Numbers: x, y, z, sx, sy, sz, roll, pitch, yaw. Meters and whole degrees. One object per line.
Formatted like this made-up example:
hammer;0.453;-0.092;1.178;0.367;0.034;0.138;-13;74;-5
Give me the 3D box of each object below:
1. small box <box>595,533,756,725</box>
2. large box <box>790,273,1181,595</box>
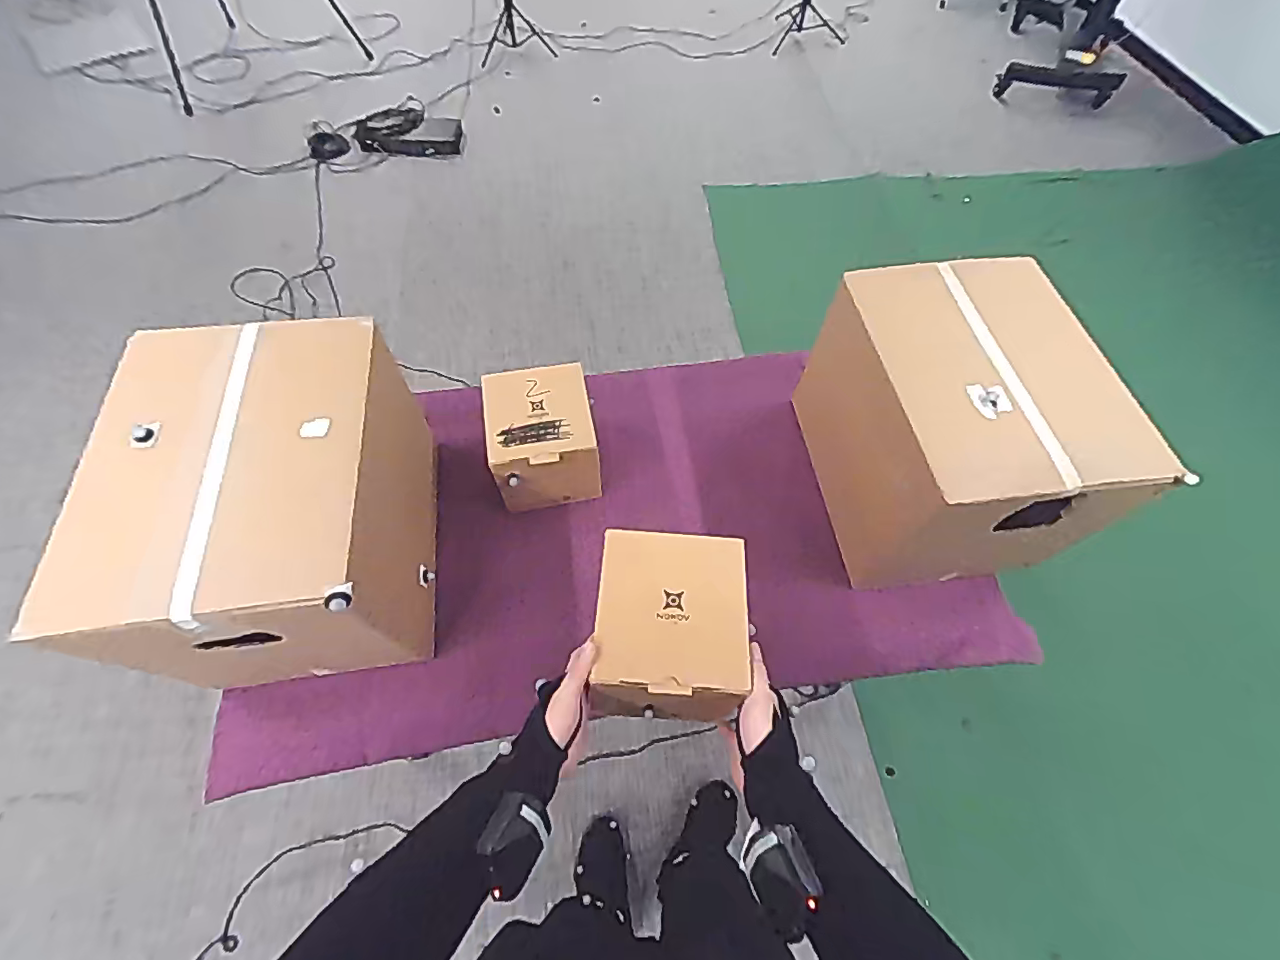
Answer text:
small box;0.035;0.184;0.653;0.168;0.176;0.179;5;58;-2
large box;0.478;-0.068;0.868;0.320;0.320;0.408;-6;61;-4
